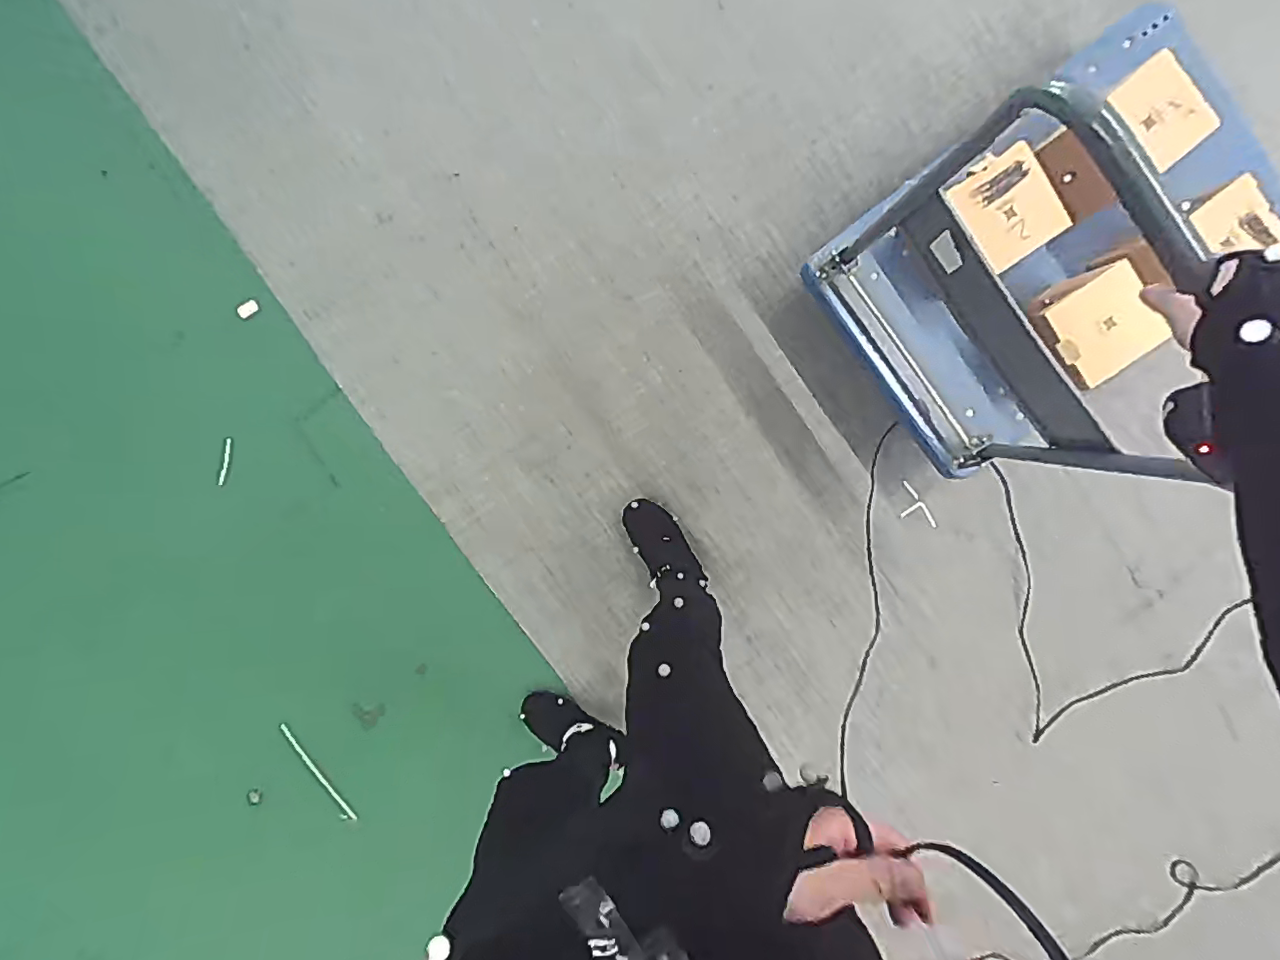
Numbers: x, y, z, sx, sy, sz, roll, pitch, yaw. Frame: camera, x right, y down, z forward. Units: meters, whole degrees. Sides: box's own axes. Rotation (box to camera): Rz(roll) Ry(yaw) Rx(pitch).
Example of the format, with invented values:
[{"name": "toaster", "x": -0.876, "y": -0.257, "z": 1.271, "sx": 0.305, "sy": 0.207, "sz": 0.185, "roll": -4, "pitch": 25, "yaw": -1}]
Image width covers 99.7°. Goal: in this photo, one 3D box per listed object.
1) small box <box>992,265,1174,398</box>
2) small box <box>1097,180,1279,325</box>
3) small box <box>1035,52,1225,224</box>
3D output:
[{"name": "small box", "x": 0.834, "y": -0.274, "z": 1.038, "sx": 0.179, "sy": 0.176, "sz": 0.168, "roll": -34, "pitch": 93, "yaw": 4}, {"name": "small box", "x": 1.039, "y": -0.413, "z": 1.023, "sx": 0.179, "sy": 0.176, "sz": 0.168, "roll": -38, "pitch": 93, "yaw": 4}, {"name": "small box", "x": 0.888, "y": -0.618, "z": 1.007, "sx": 0.179, "sy": 0.176, "sz": 0.168, "roll": -40, "pitch": 94, "yaw": 4}]
